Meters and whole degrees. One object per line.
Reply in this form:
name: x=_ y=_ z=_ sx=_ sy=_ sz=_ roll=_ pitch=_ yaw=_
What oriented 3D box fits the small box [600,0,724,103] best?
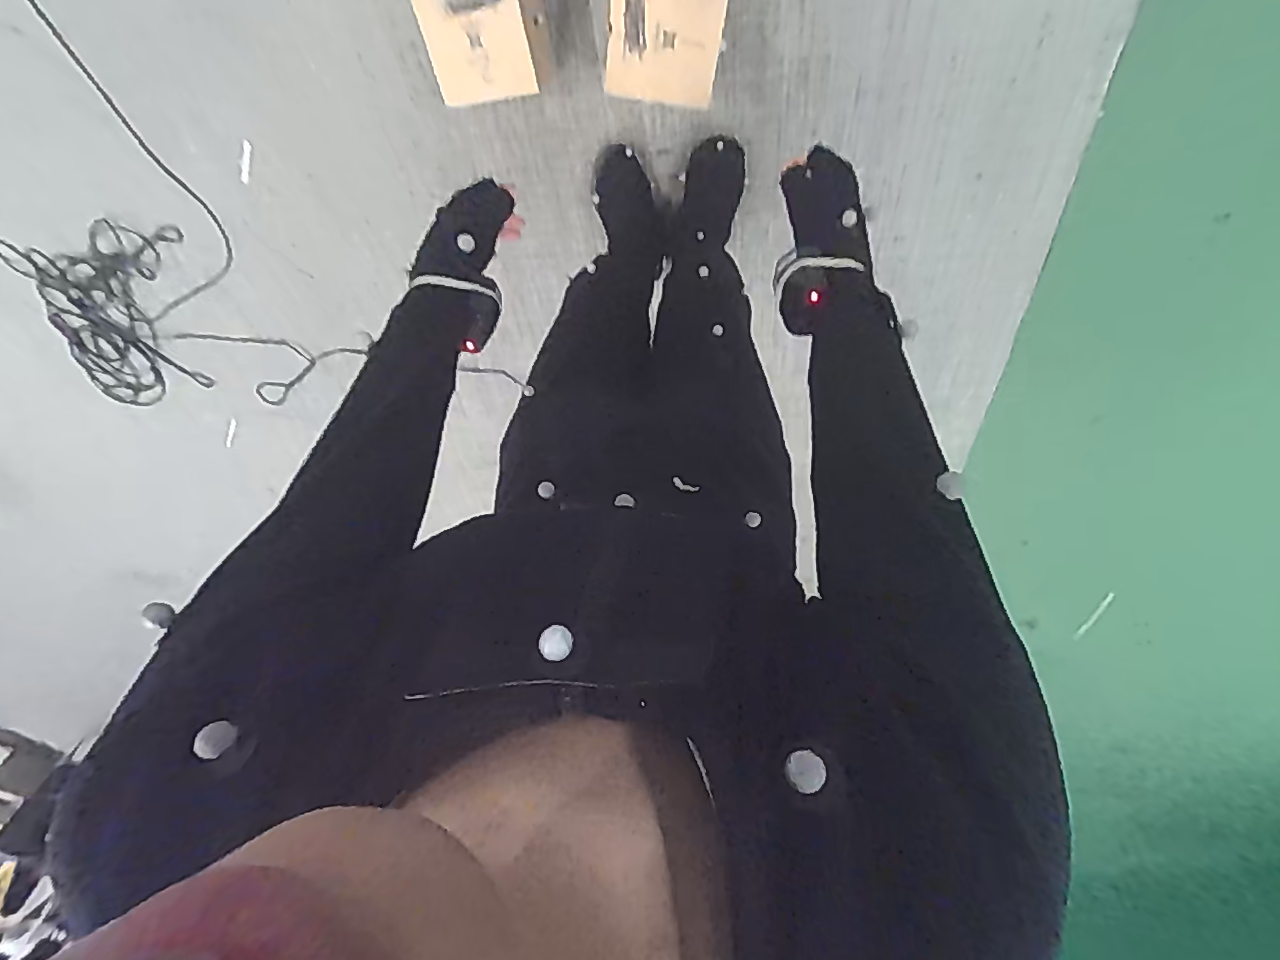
small box: x=0.036 y=-0.733 z=0.870 sx=0.179 sy=0.176 sz=0.168 roll=7 pitch=135 yaw=-3
